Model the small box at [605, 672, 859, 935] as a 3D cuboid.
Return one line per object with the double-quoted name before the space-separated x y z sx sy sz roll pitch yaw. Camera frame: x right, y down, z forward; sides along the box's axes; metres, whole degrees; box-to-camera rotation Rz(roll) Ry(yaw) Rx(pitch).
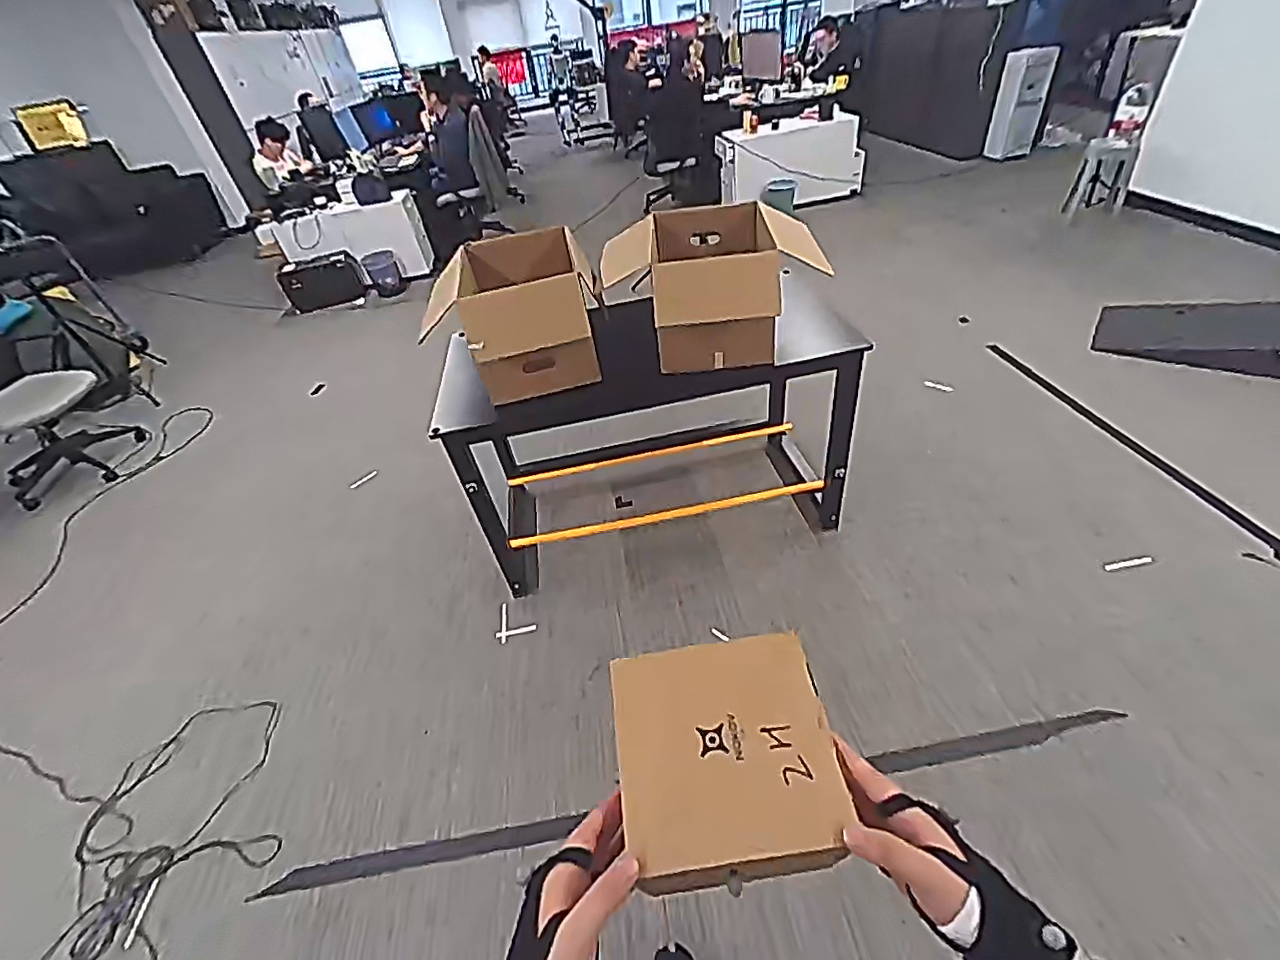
"small box" 0.071 0.296 0.490 0.179 0.176 0.168 -9 49 0
